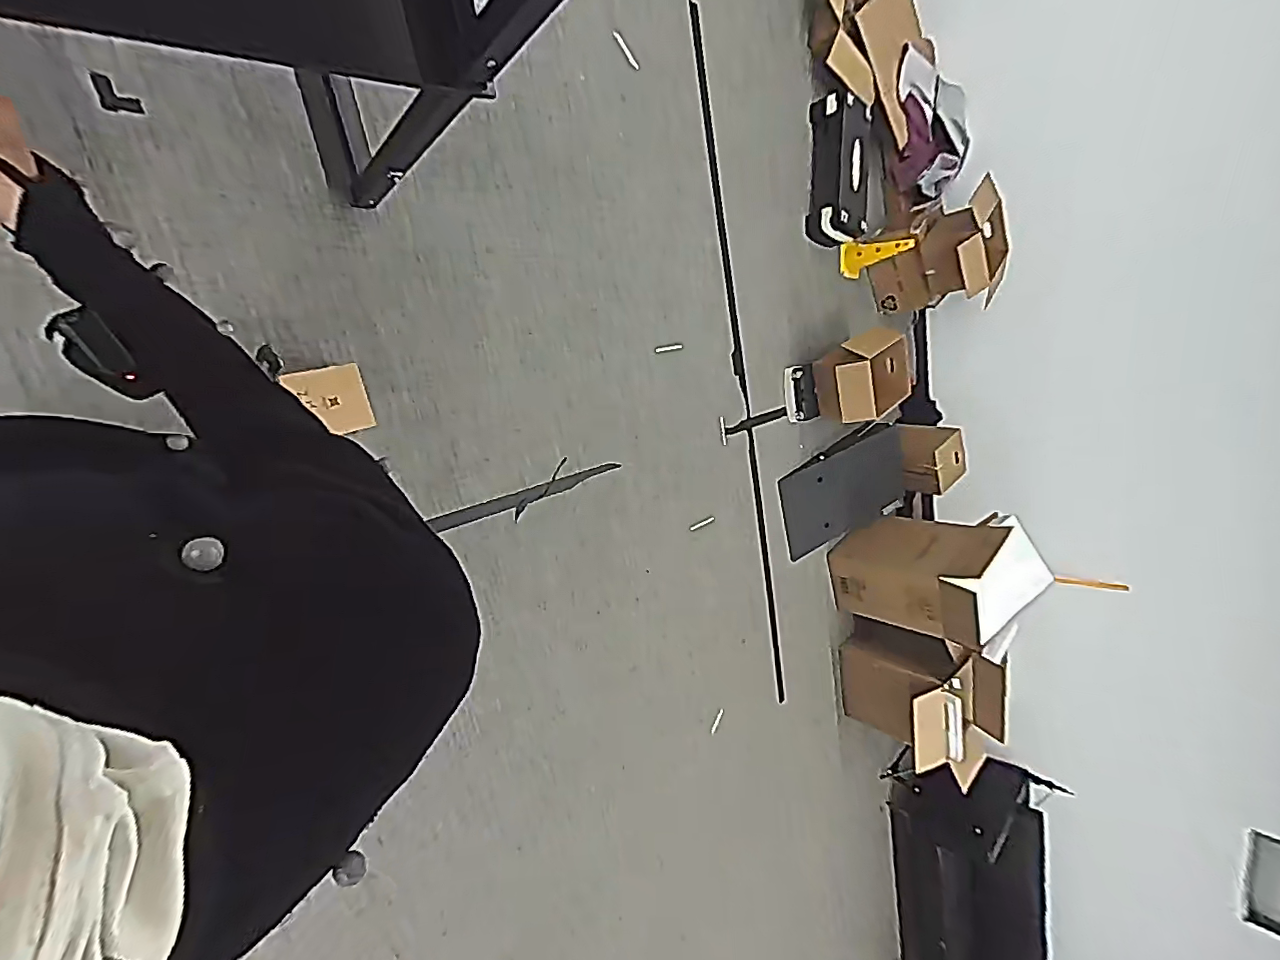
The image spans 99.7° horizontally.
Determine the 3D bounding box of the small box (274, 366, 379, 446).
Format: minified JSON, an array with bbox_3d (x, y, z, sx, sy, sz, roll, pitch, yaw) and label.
[{"bbox_3d":[-0.801,-0.191,1.381,0.179,0.176,0.168,-23,109,-36],"label":"small box"}]
